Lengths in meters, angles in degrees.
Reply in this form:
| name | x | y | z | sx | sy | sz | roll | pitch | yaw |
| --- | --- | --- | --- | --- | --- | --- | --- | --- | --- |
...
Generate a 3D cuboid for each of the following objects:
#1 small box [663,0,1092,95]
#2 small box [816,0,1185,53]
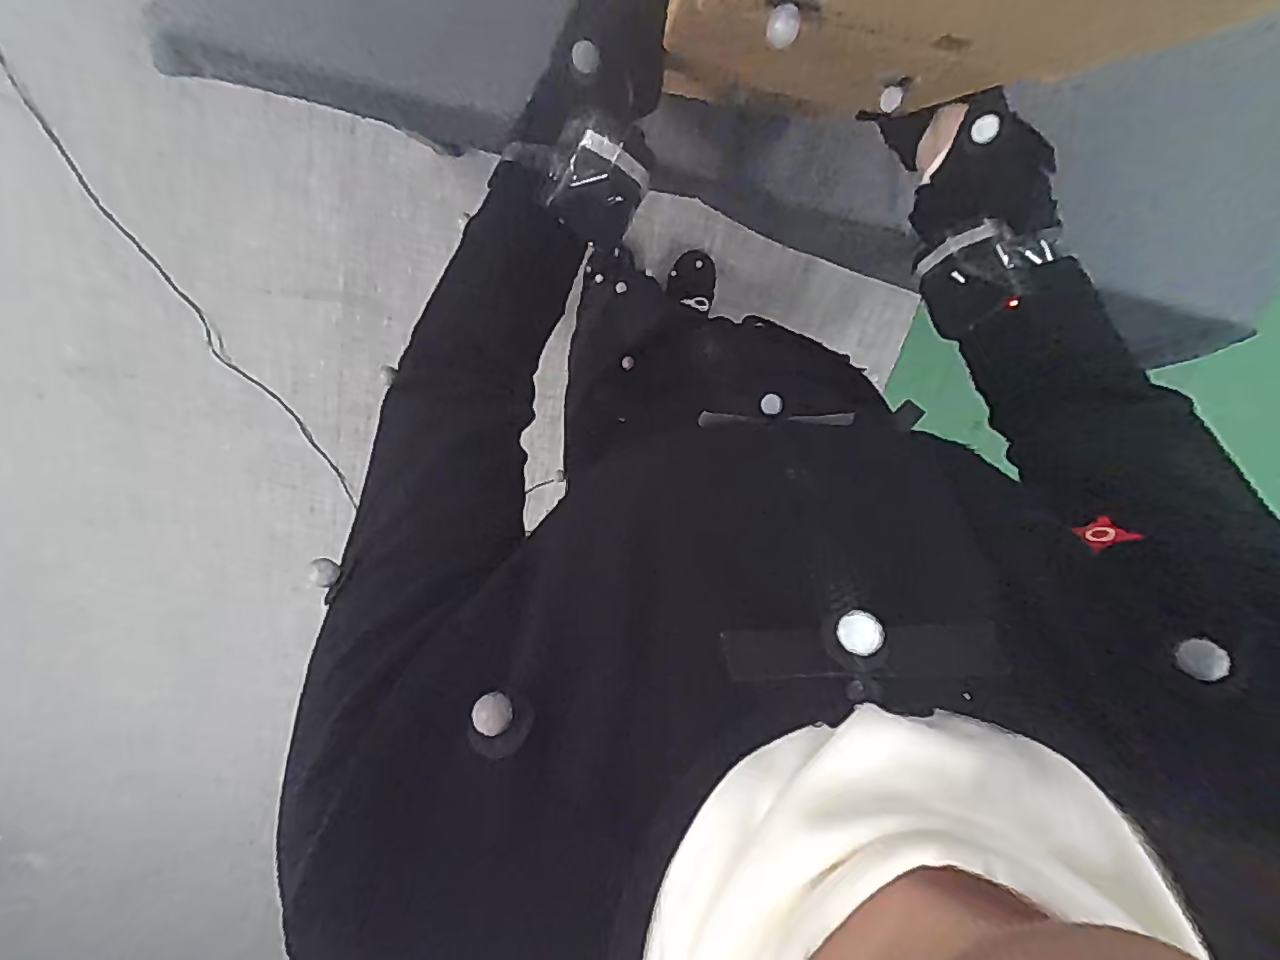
| name | x | y | z | sx | sy | sz | roll | pitch | yaw |
| --- | --- | --- | --- | --- | --- | --- | --- | --- | --- |
| small box | 0.114 | -0.302 | 0.259 | 0.179 | 0.176 | 0.168 | 2 | 117 | -6 |
| small box | 0.120 | -0.236 | 0.126 | 0.168 | 0.176 | 0.179 | 6 | 115 | -7 |
